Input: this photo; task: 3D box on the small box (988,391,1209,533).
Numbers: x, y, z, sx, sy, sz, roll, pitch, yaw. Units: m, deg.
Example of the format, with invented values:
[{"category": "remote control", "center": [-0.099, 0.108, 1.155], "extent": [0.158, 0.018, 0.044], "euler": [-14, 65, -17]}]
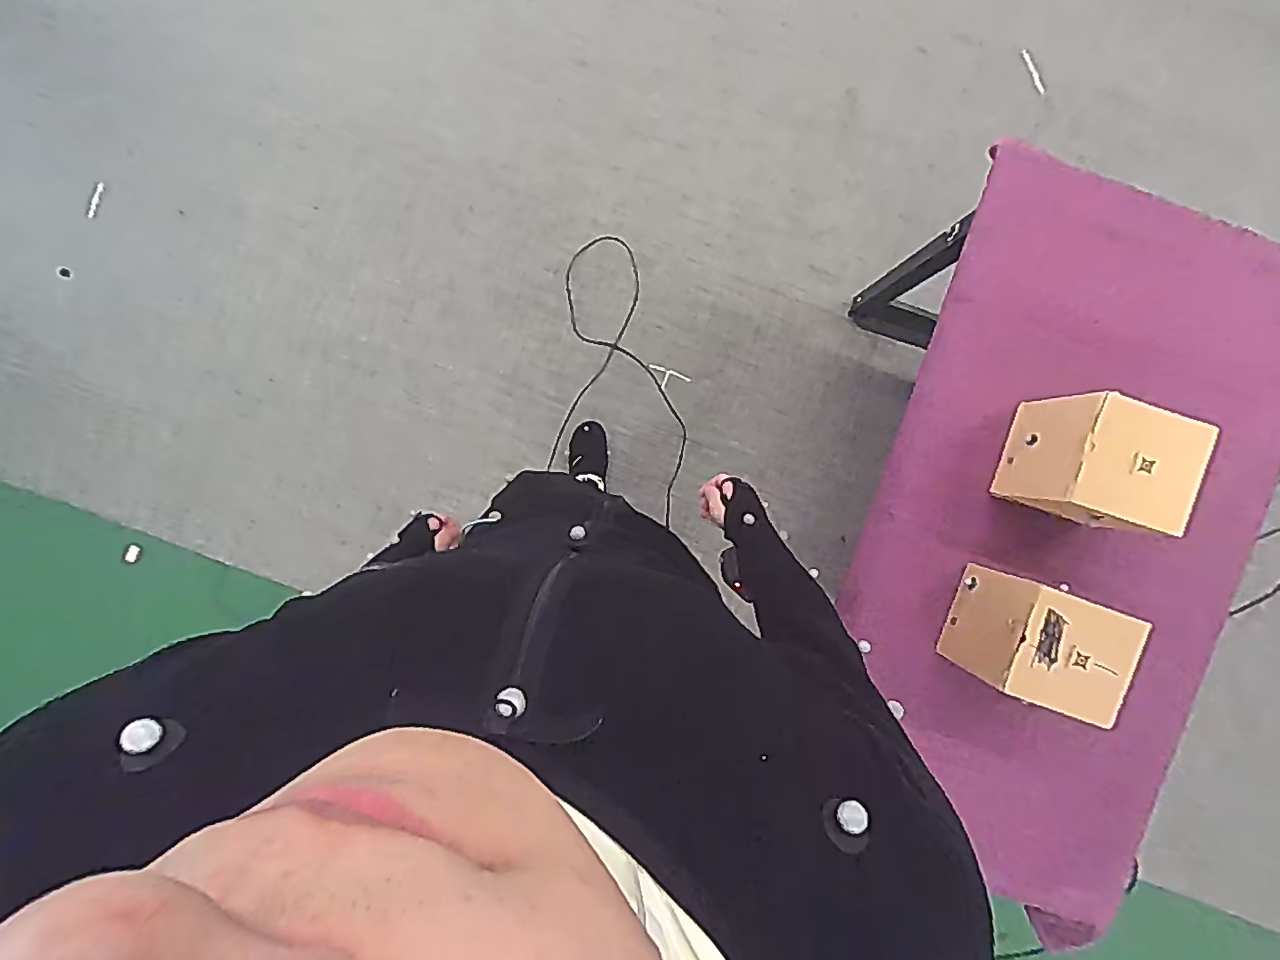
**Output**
[{"category": "small box", "center": [0.702, -0.030, 0.848], "extent": [0.179, 0.176, 0.168], "euler": [17, 92, -1]}]

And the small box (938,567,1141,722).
[{"category": "small box", "center": [0.614, 0.246, 0.856], "extent": [0.179, 0.176, 0.168], "euler": [18, 91, -1]}]
